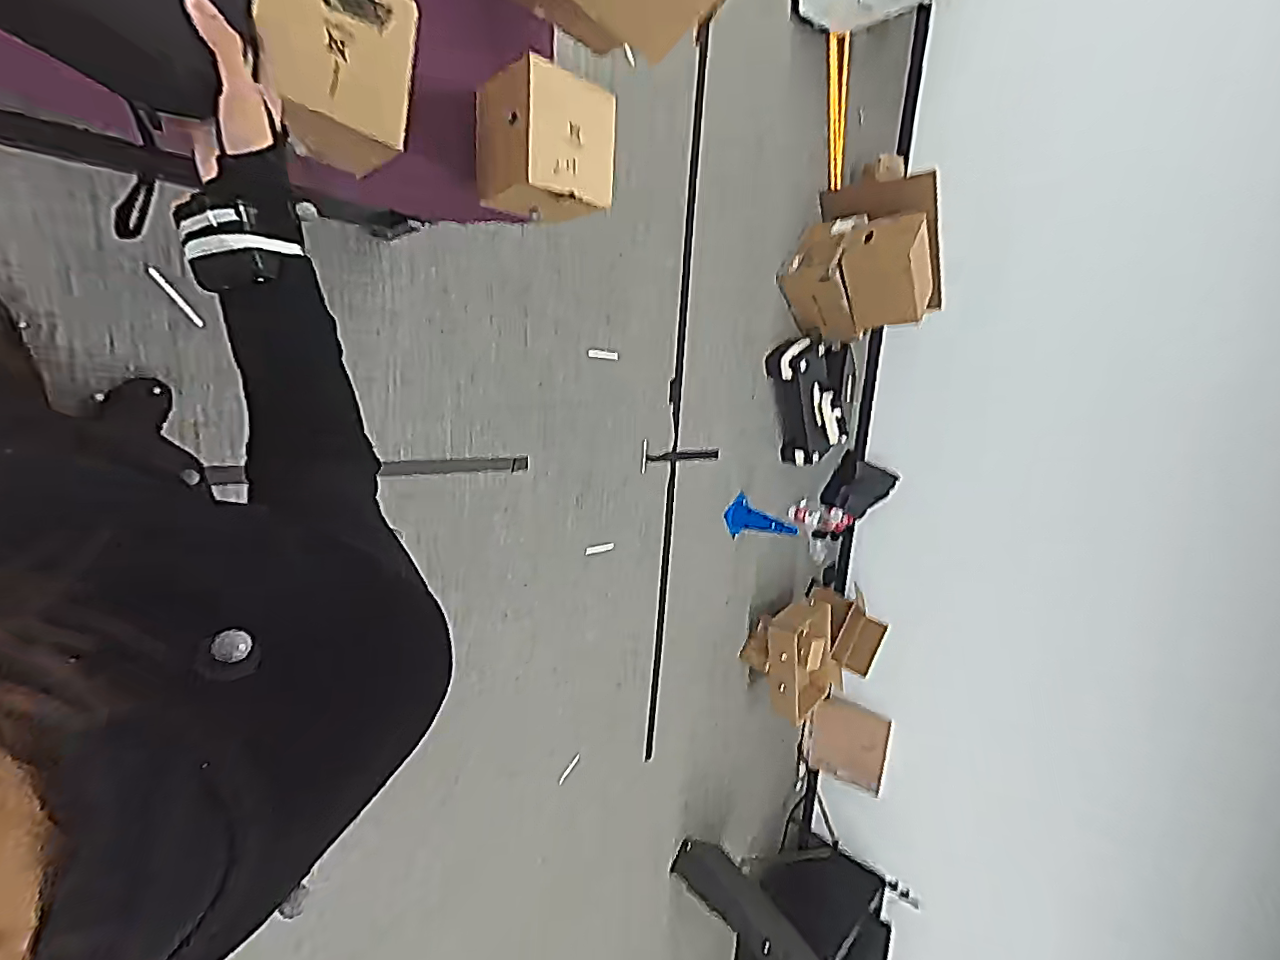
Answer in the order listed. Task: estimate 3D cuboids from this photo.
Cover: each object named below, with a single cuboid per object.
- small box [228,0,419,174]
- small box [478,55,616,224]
[{"bbox_3d":[-0.400,-0.520,0.678,0.168,0.176,0.179,3,100,-45],"label":"small box"},{"bbox_3d":[-0.159,-0.551,0.906,0.168,0.176,0.179,-6,105,-43],"label":"small box"}]
